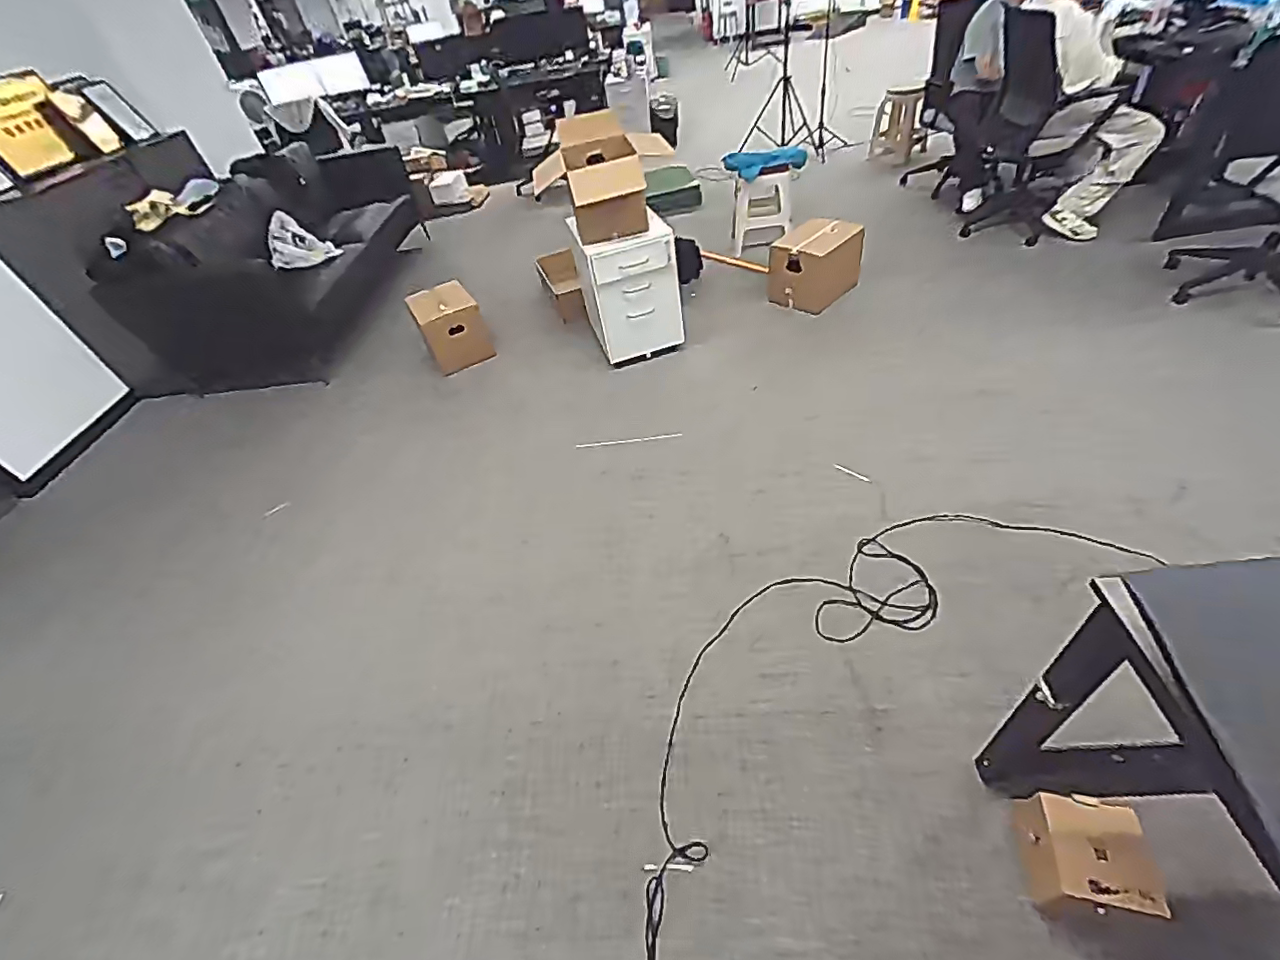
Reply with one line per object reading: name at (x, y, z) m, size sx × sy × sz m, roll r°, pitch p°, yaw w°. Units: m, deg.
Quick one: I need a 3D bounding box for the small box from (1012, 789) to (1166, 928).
small box at (0.876, 0.755, 1.081) m, size 0.168 × 0.176 × 0.179 m, roll 4°, pitch 45°, yaw 16°
